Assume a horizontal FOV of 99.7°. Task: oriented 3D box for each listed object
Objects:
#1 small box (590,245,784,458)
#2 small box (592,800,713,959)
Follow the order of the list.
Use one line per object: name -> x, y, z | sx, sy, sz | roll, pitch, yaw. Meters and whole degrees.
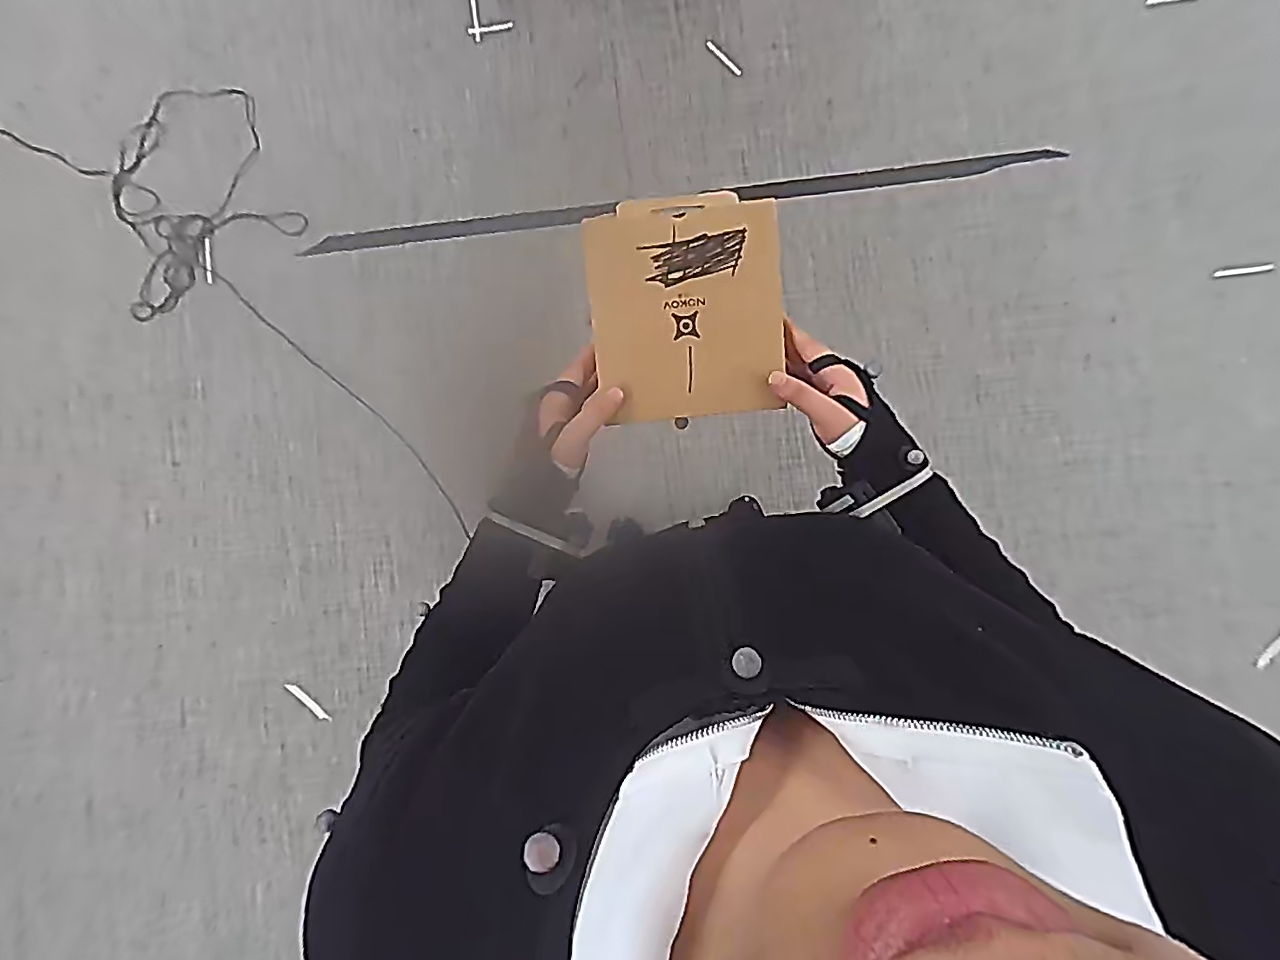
small box -> 0.043, -0.123, 0.556 | 0.168, 0.176, 0.179 | -5, 99, 2
small box -> 0.024, 0.681, 0.927 | 0.179, 0.176, 0.168 | -8, 86, 3
